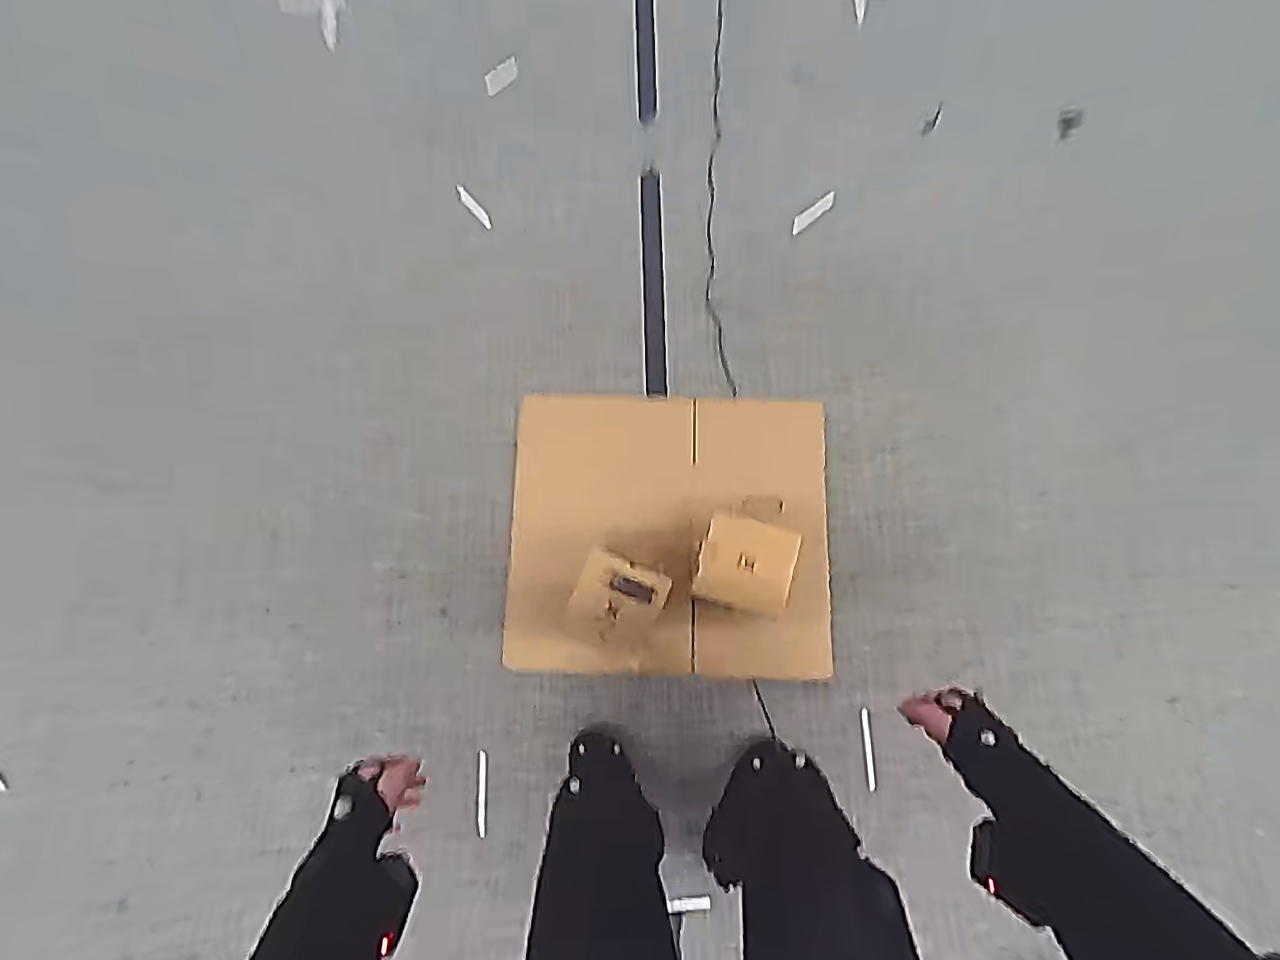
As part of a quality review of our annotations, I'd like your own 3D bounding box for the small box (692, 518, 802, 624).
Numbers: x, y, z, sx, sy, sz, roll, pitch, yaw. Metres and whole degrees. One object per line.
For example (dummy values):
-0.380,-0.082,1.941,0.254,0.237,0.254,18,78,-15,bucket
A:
0.212,0.186,1.114,0.179,0.176,0.168,15,80,7,small box
